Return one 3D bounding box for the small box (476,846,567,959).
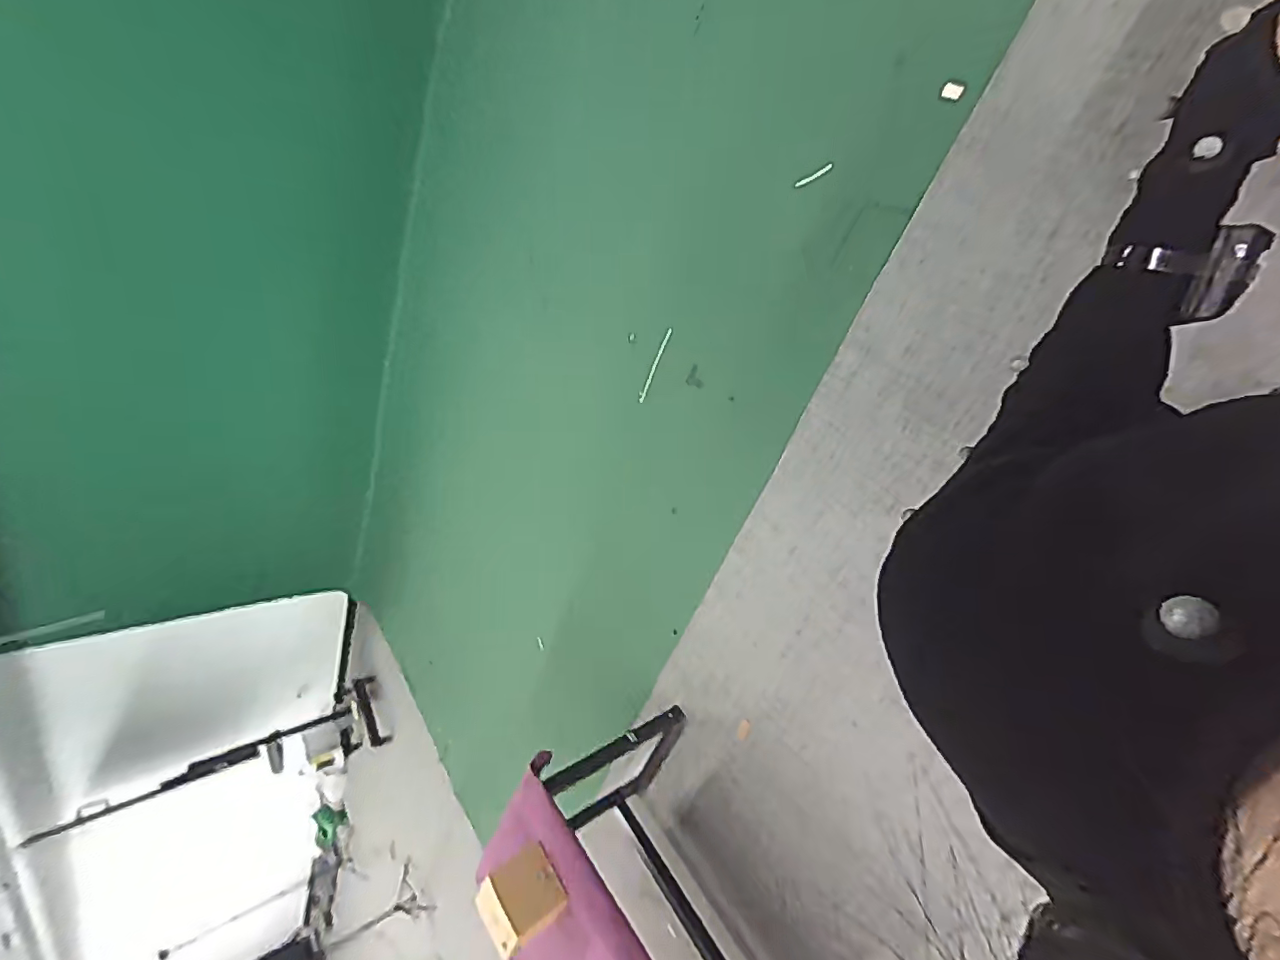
[{"bbox_3d":[-0.335,1.176,1.524,0.179,0.176,0.168,45,126,34],"label":"small box"}]
